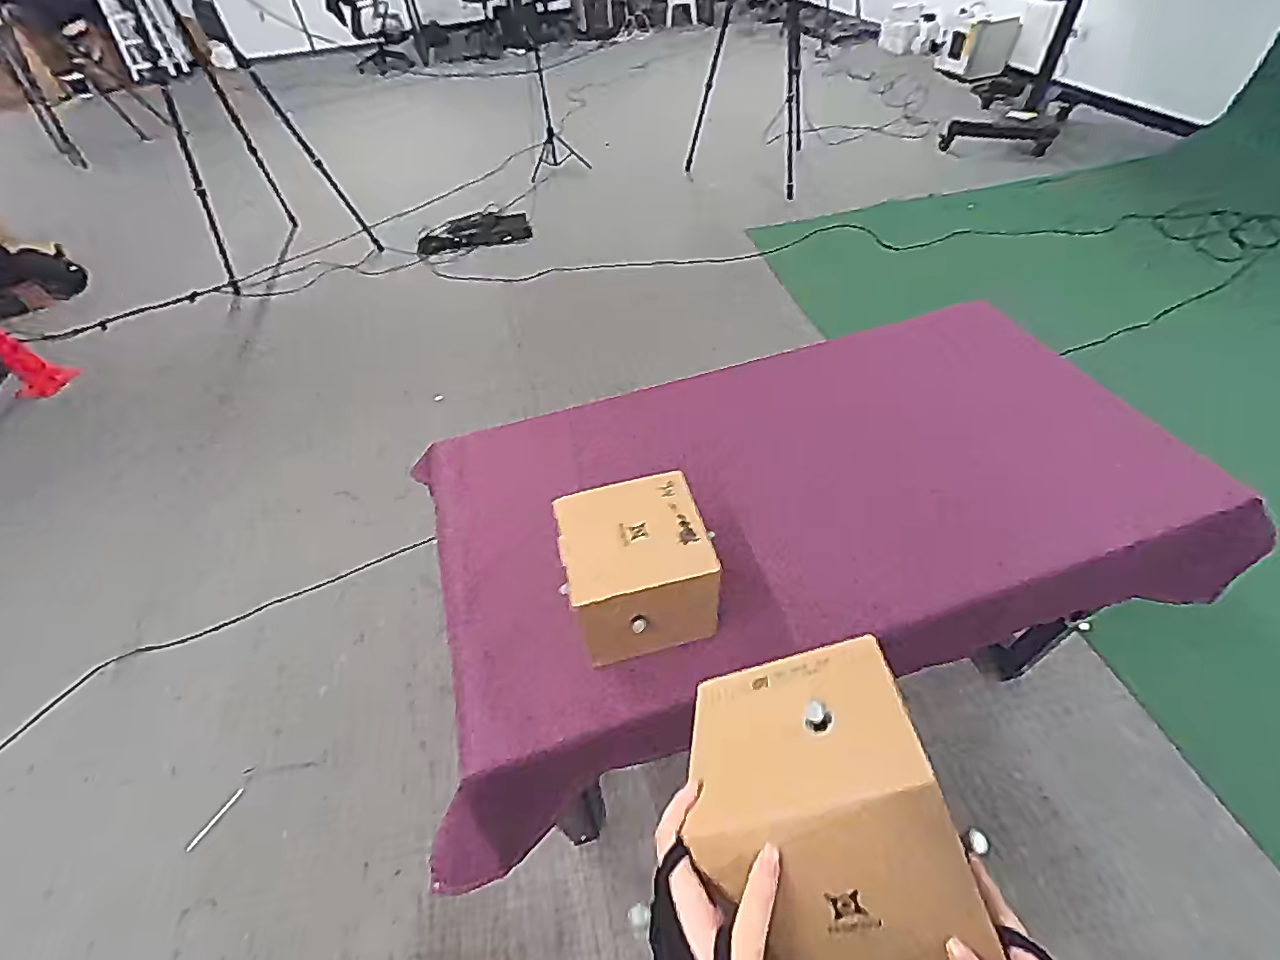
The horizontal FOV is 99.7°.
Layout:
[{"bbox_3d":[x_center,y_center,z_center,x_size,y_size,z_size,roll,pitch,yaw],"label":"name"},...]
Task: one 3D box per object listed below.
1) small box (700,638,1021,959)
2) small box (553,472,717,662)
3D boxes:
[{"bbox_3d":[0.157,0.250,0.433,0.168,0.179,0.176,-22,12,15],"label":"small box"},{"bbox_3d":[-0.004,0.120,0.720,0.179,0.176,0.168,-14,50,-5],"label":"small box"}]
